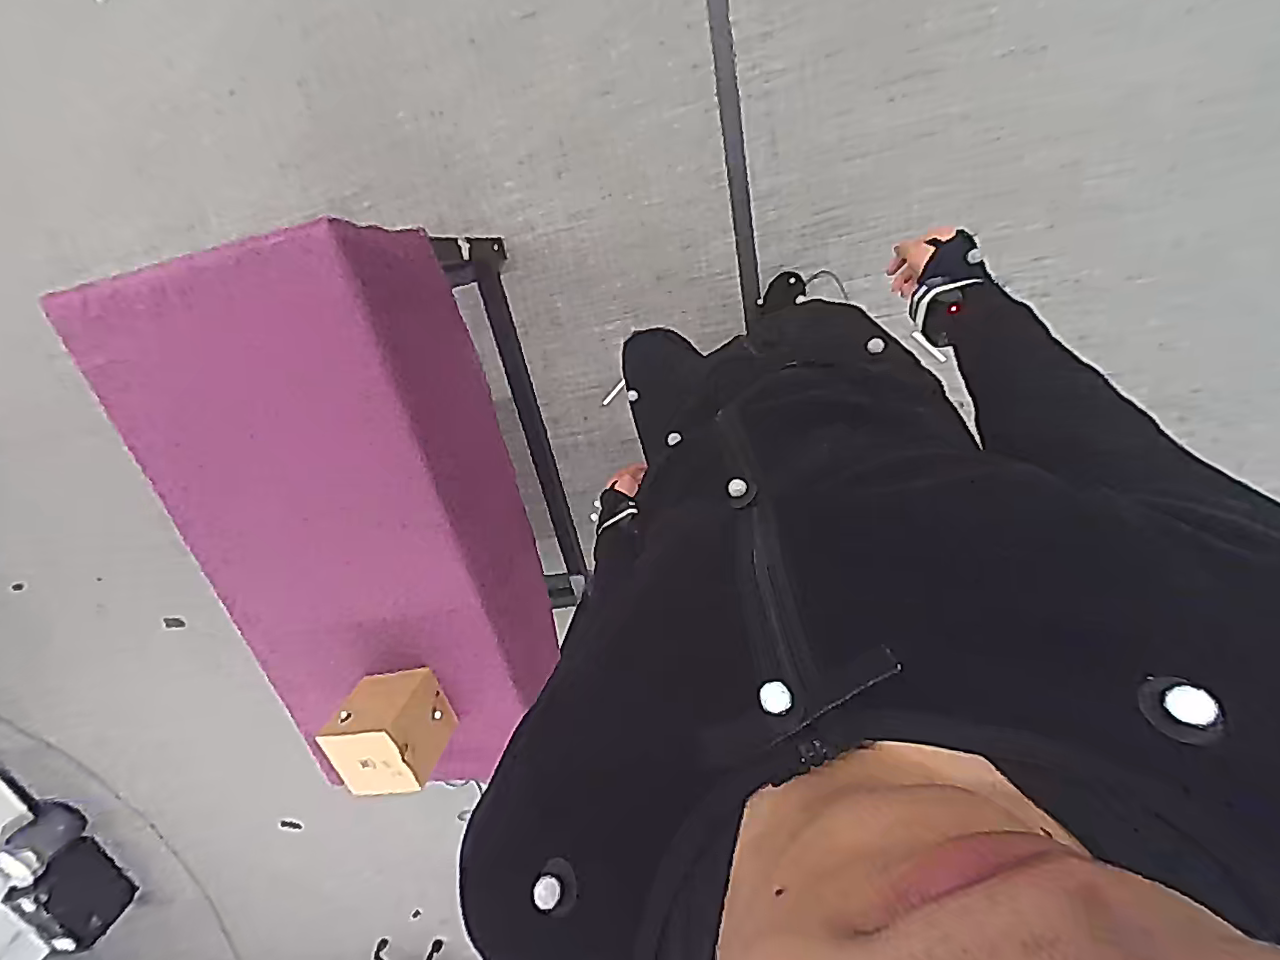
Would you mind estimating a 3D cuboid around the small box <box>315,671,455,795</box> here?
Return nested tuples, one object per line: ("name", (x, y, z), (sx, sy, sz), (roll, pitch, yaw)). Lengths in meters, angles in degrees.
("small box", (-0.528, 0.530, 1.143), (0.179, 0.176, 0.168), (-12, 111, 14))
